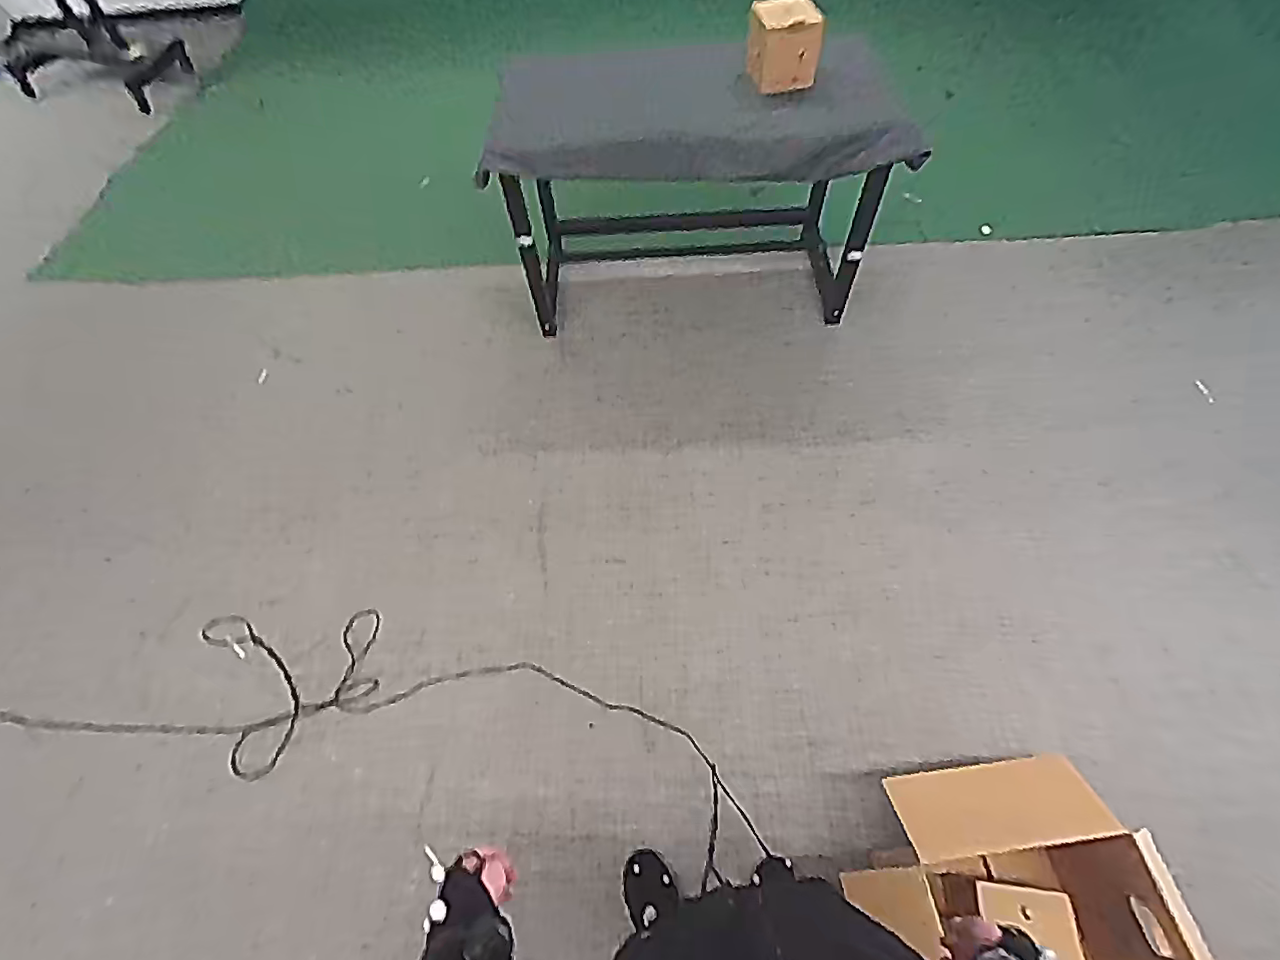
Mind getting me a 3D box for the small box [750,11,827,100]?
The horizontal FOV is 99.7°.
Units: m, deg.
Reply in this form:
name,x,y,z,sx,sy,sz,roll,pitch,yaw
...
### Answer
name,x,y,z,sx,sy,sz,roll,pitch,yaw
small box,0.442,-1.277,1.638,0.168,0.176,0.179,-8,57,-4
